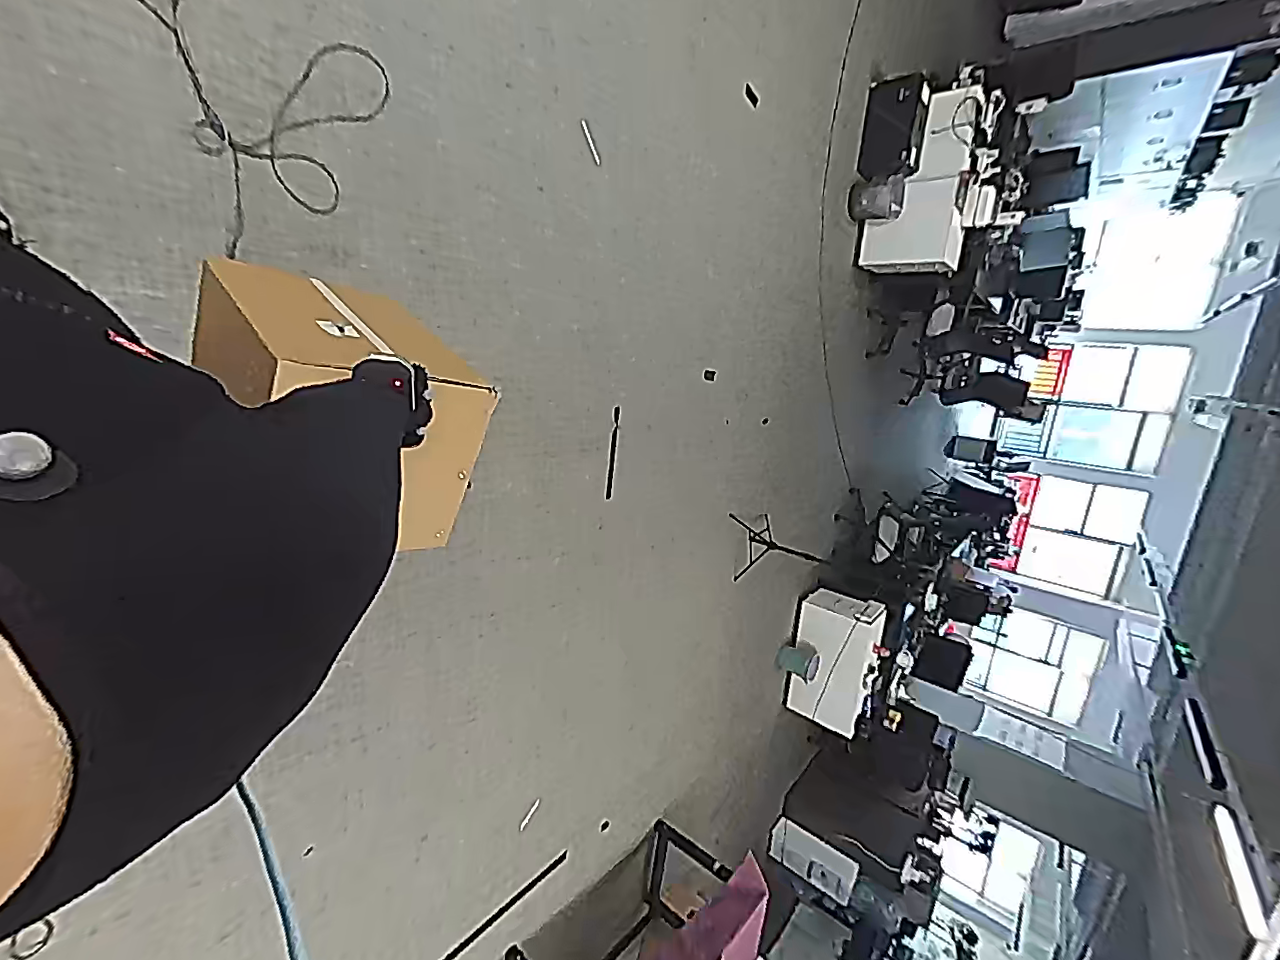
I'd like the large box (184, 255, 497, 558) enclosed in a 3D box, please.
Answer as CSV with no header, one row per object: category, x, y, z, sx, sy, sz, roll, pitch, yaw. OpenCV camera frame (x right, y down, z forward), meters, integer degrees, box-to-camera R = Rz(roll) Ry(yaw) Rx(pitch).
large box,-0.520,-0.123,0.919,0.320,0.408,0.320,-1,124,-50
